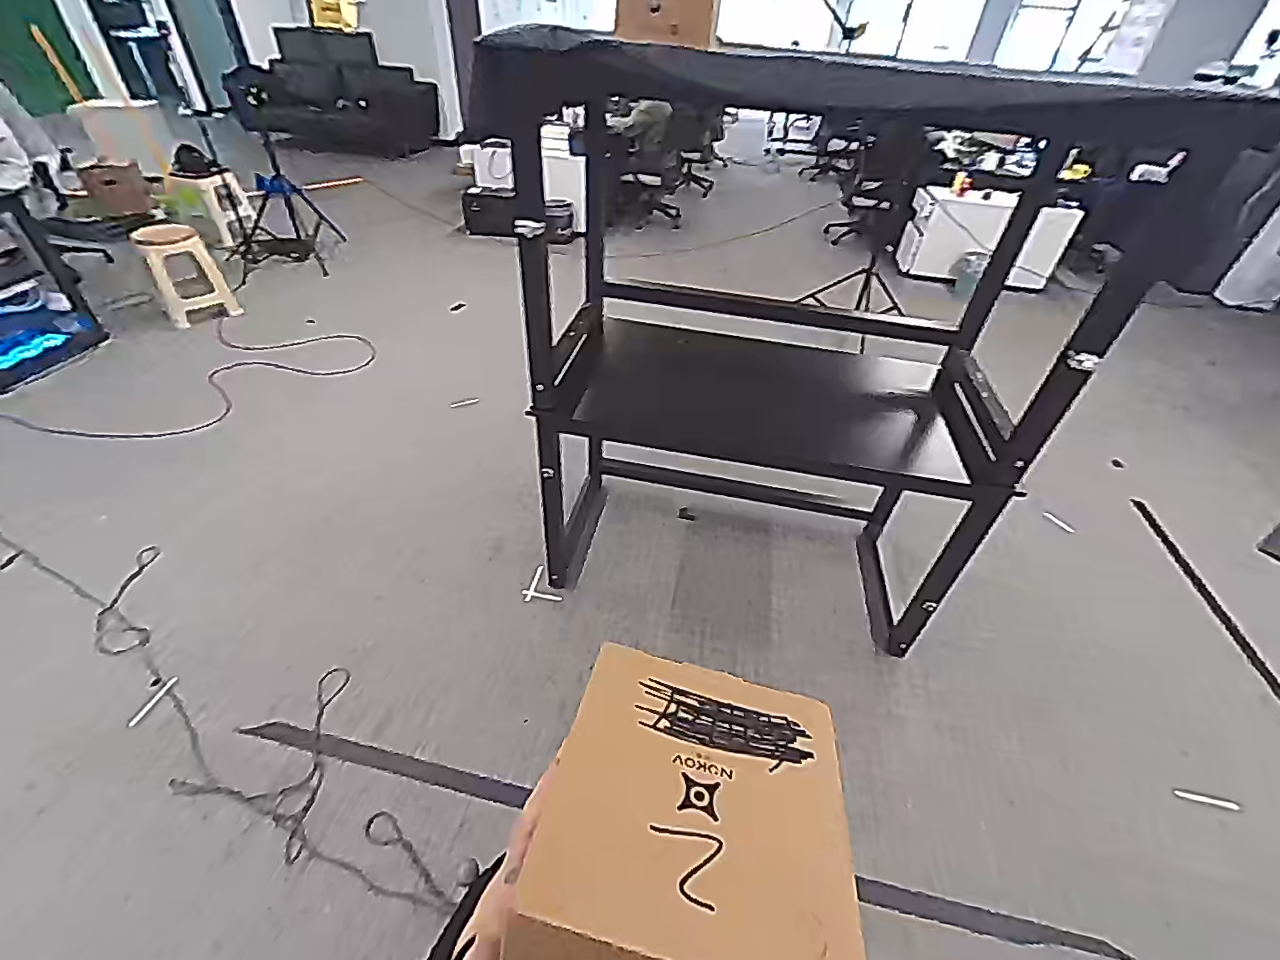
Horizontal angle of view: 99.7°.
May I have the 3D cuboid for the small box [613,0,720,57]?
[{"bbox_3d":[0.051,-0.830,0.910,0.168,0.176,0.179,10,40,4],"label":"small box"}]
